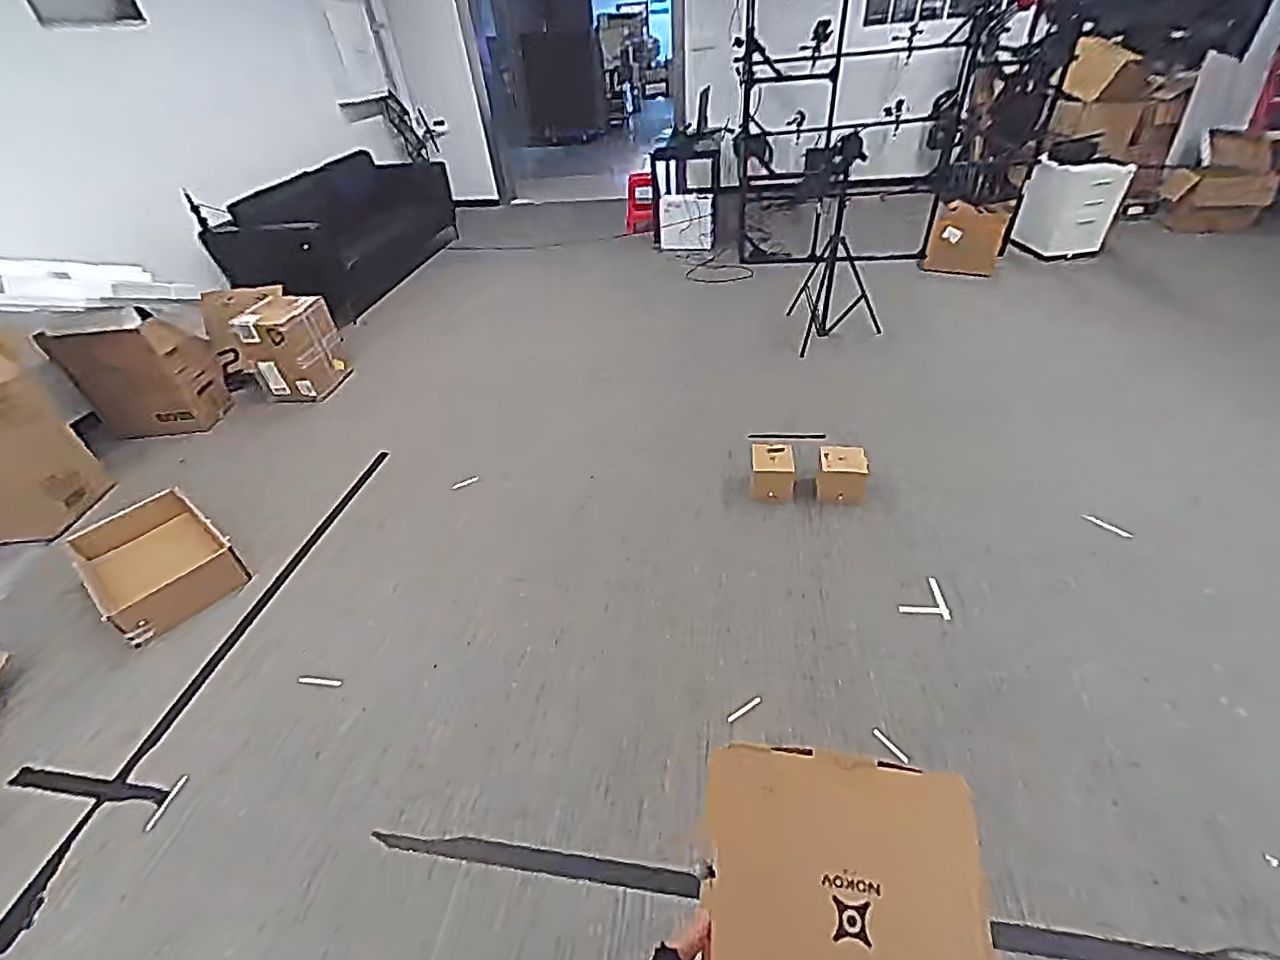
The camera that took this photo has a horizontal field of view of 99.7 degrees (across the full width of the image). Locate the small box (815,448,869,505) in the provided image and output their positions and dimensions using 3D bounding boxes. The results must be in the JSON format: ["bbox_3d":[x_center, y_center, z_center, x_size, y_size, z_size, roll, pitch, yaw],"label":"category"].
[{"bbox_3d":[0.826,-0.013,2.226,0.179,0.176,0.168,4,41,10],"label":"small box"}]

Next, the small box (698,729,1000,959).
[{"bbox_3d":[0.135,0.300,0.401,0.168,0.176,0.179,7,61,7],"label":"small box"}]

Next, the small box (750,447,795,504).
[{"bbox_3d":[0.553,-0.022,2.268,0.168,0.176,0.179,1,41,8],"label":"small box"}]
